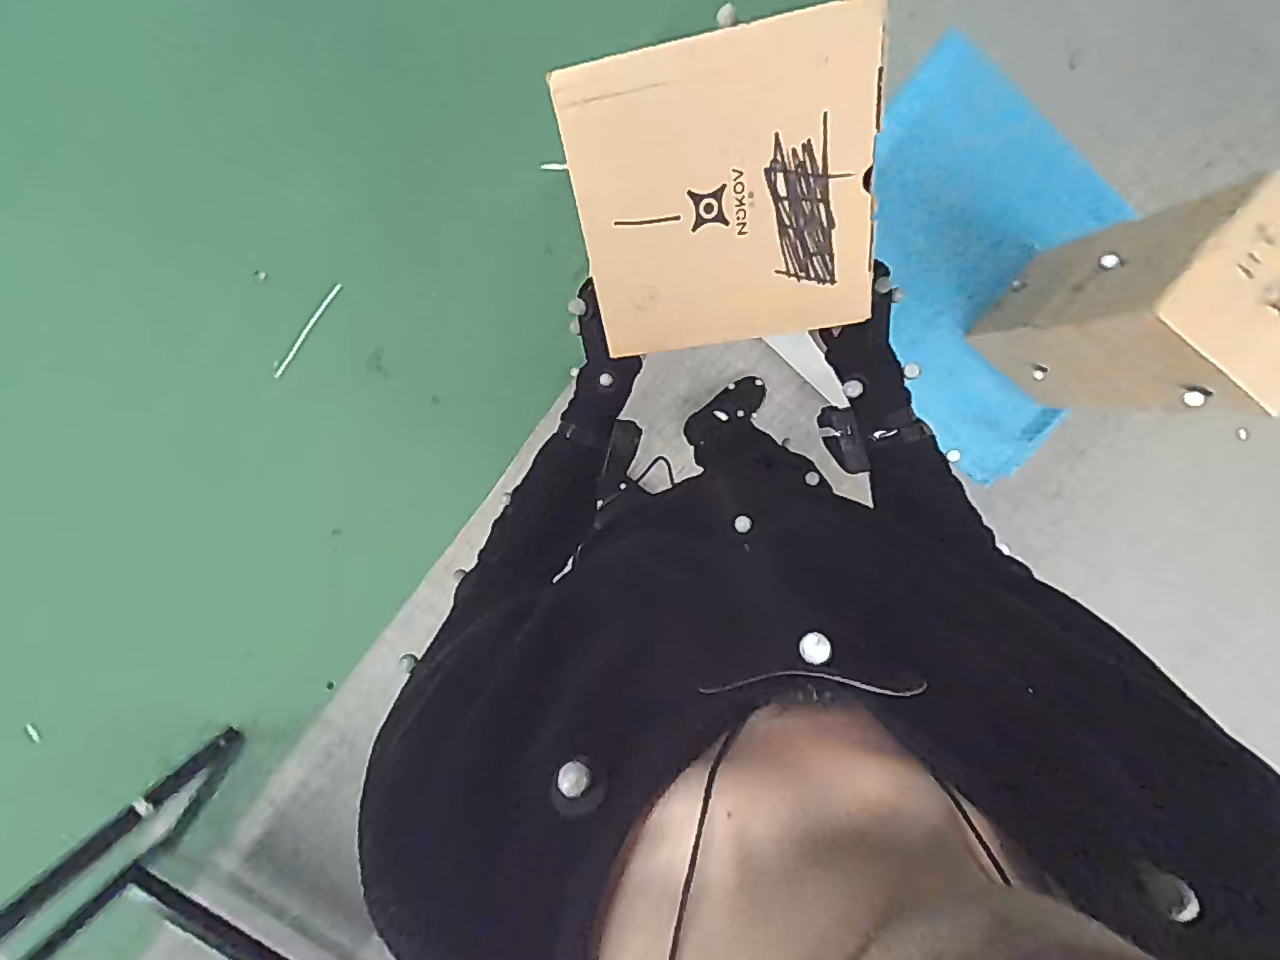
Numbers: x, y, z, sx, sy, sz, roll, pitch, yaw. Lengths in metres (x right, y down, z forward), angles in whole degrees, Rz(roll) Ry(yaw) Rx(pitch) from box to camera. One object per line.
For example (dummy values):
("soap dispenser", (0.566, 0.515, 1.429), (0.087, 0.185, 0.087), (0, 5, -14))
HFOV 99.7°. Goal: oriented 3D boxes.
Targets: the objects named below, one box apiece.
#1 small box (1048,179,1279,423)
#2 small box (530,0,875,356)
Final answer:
("small box", (0.616, -0.183, 0.590), (0.179, 0.176, 0.168), (39, 98, -3))
("small box", (0.046, -0.205, 0.376), (0.179, 0.176, 0.168), (-6, 123, 10))
